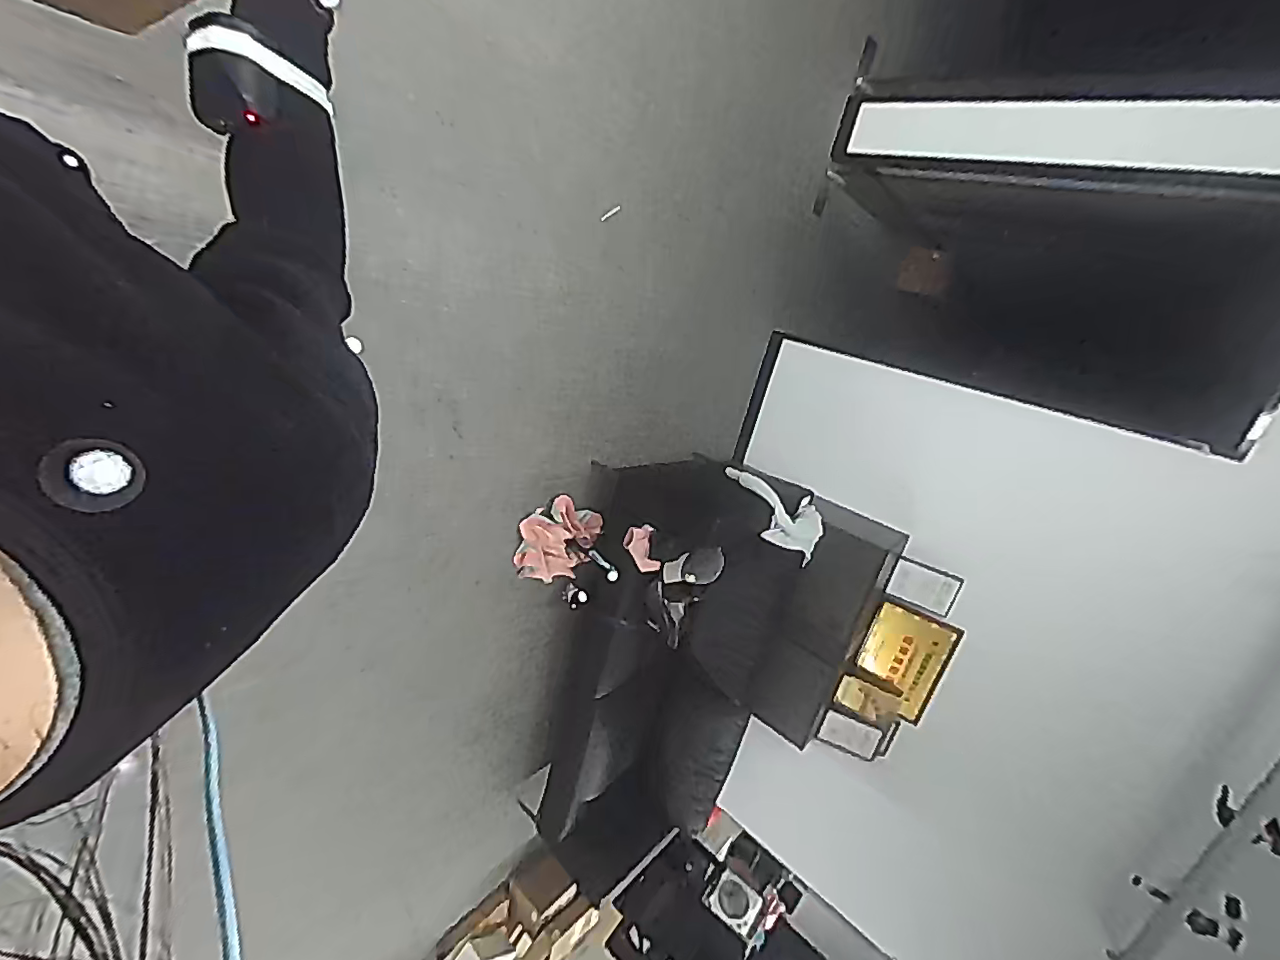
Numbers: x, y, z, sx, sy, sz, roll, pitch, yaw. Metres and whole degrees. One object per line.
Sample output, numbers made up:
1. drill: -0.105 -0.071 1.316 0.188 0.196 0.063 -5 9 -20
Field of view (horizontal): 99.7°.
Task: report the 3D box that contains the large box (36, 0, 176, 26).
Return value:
1. large box: -0.502 -0.511 0.265 0.408 0.320 0.320 -15 119 -50
